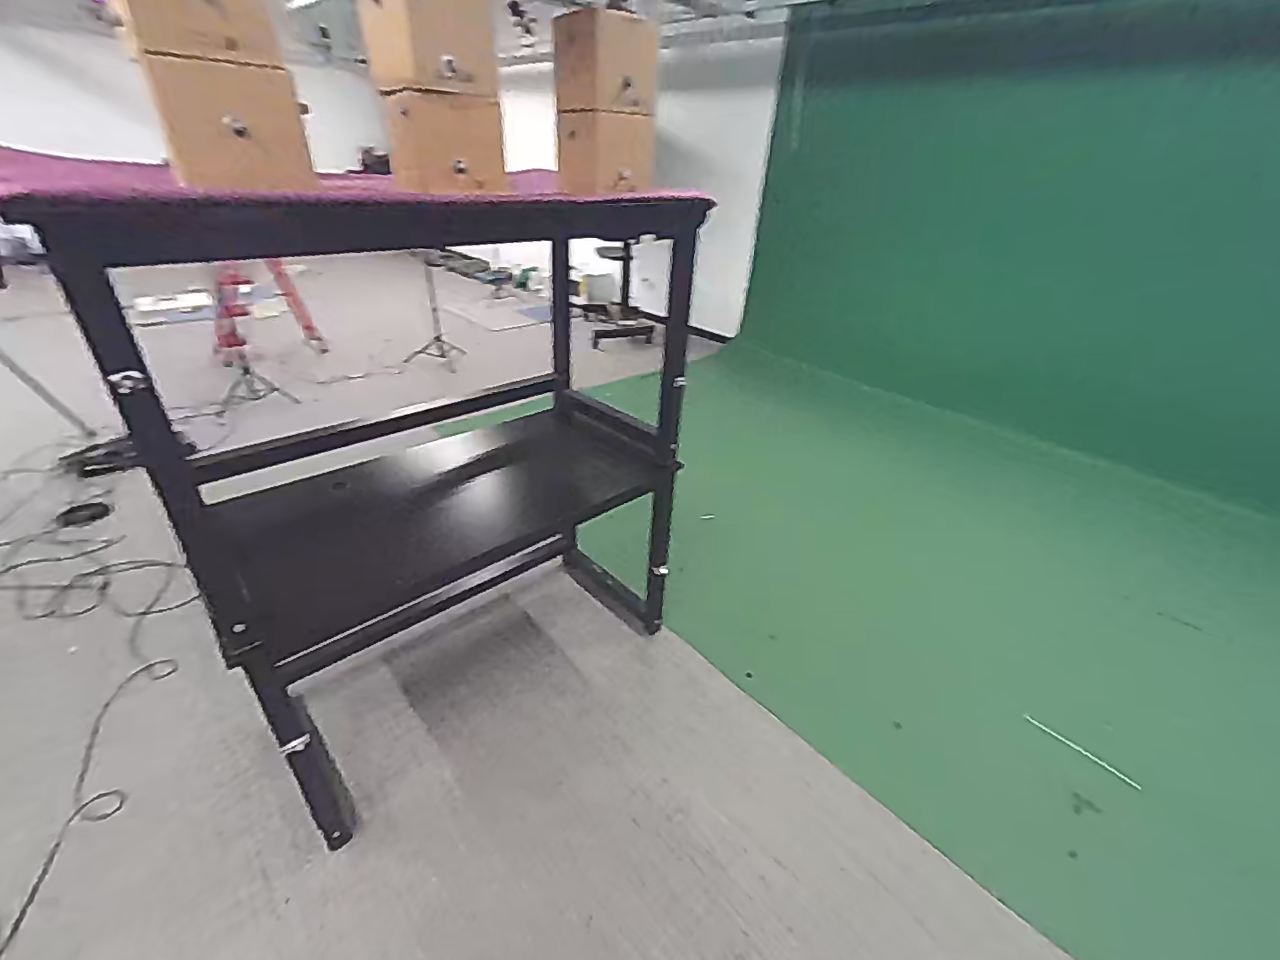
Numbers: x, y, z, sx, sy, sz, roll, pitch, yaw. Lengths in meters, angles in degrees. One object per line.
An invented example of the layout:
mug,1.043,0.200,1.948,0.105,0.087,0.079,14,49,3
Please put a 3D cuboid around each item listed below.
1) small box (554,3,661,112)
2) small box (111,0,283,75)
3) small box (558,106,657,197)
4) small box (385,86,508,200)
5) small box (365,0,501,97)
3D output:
small box,-0.074,-0.906,1.180,0.168,0.176,0.179,-21,39,-32
small box,-0.623,-0.670,0.745,0.168,0.176,0.179,-24,39,-36
small box,-0.080,-0.765,1.265,0.168,0.176,0.179,-21,39,-32
small box,-0.369,-0.641,1.041,0.168,0.176,0.179,-21,38,-34
small box,-0.365,-0.777,0.952,0.168,0.176,0.179,-26,42,-37
